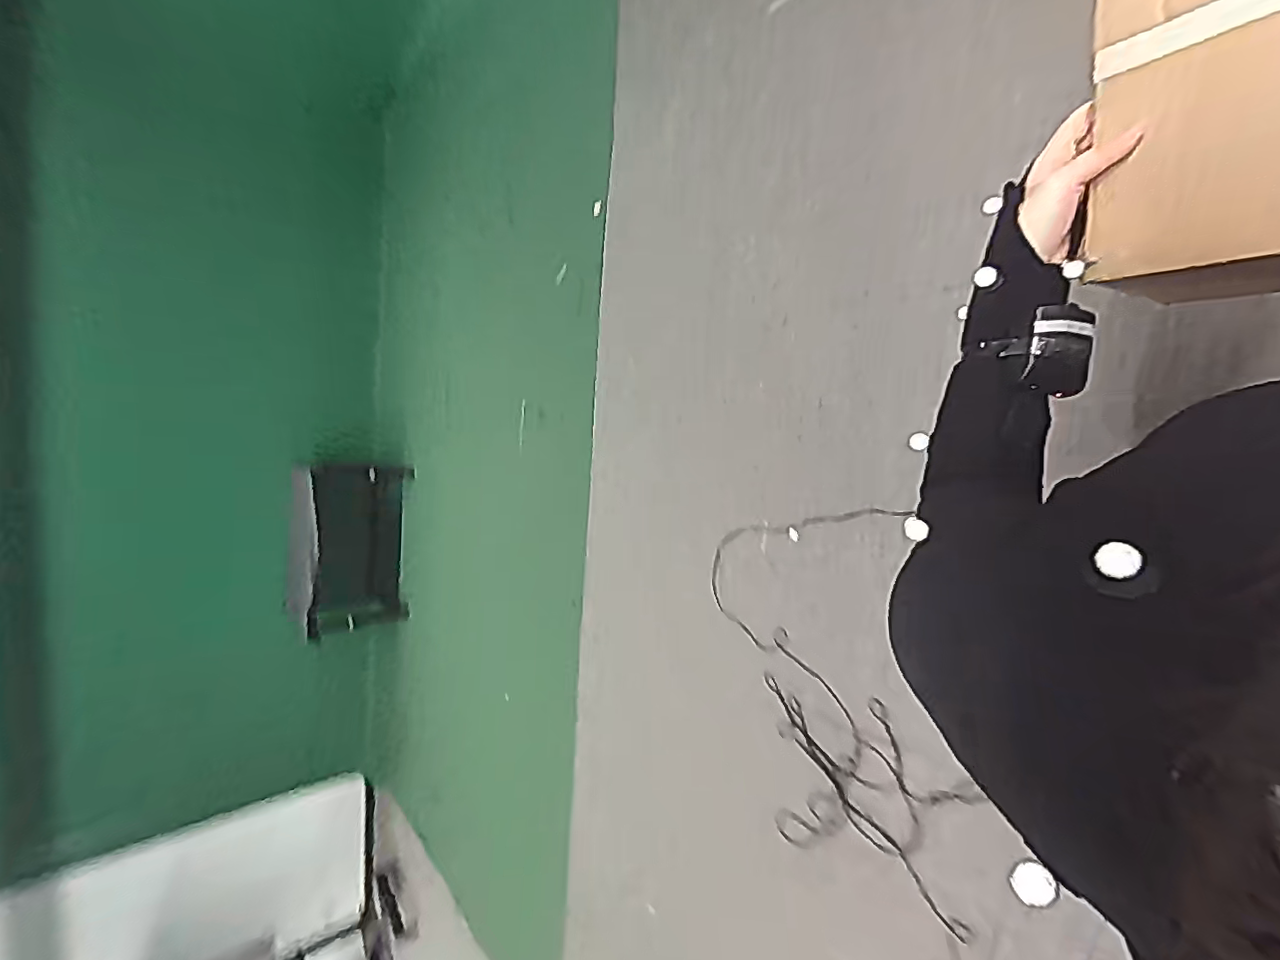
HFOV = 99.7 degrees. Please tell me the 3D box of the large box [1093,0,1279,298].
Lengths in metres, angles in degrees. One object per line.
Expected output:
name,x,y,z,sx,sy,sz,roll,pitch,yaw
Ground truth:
large box,0.600,-0.322,0.356,0.408,0.320,0.320,5,102,53
